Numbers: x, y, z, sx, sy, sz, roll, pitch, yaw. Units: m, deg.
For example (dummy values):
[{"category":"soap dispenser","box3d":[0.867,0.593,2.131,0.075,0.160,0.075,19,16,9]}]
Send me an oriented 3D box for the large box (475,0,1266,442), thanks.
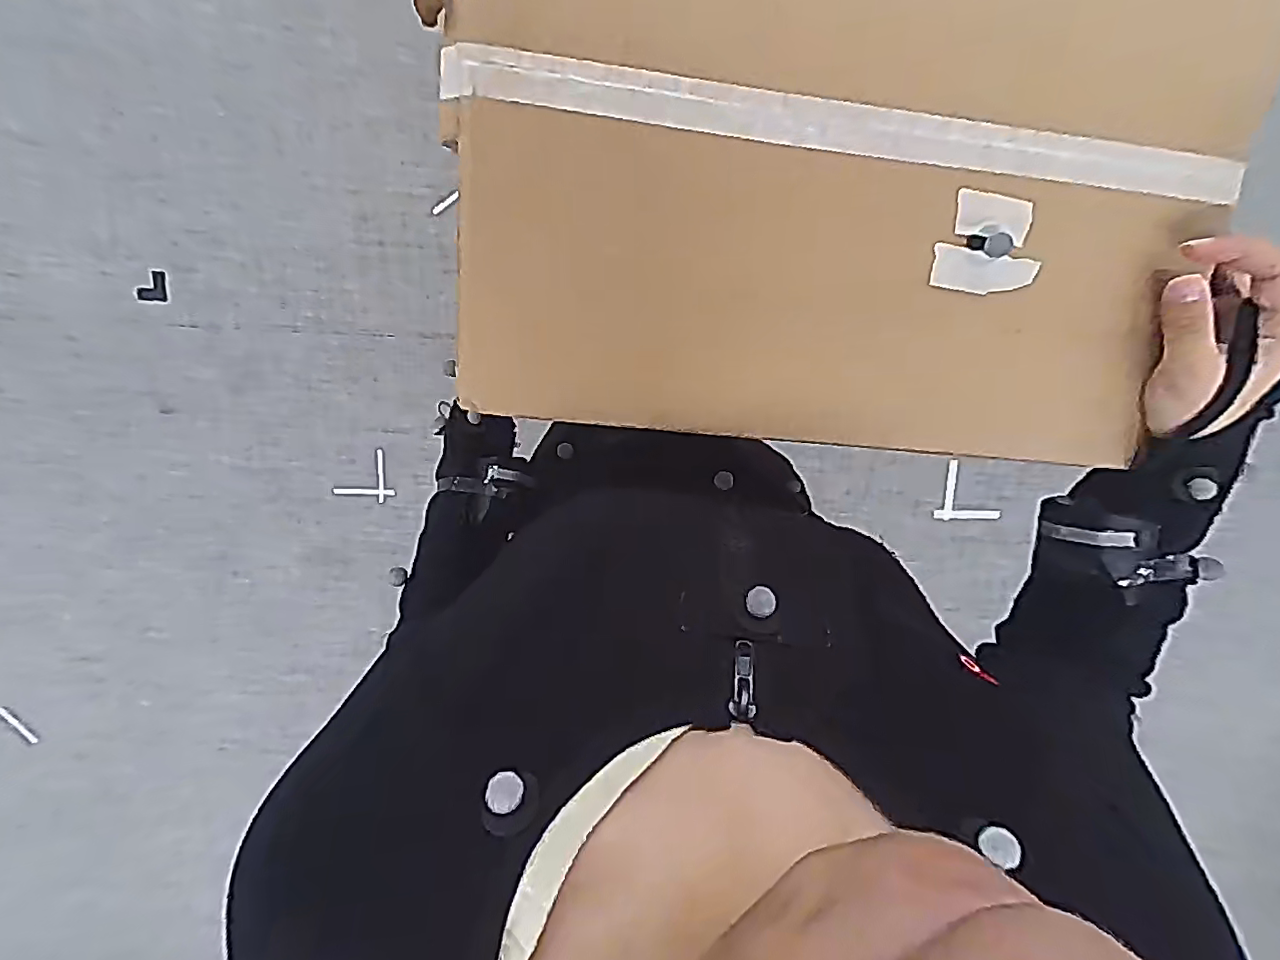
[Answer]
[{"category":"large box","box3d":[0.101,-0.220,0.420,0.408,0.320,0.320,4,106,-8]}]
